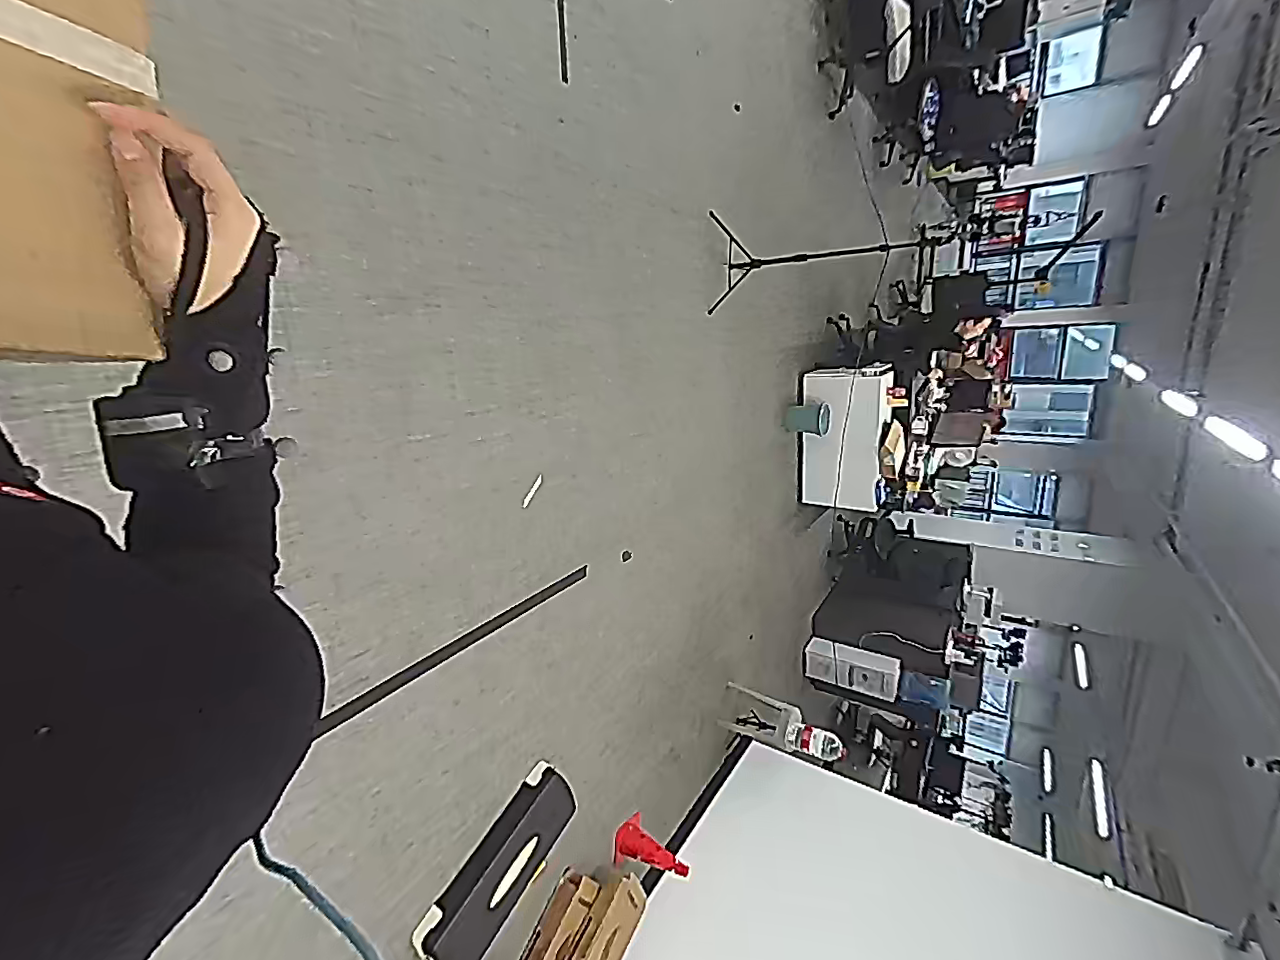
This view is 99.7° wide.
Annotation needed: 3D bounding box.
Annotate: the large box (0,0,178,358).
[{"bbox_3d":[-0.521,-0.230,0.243,0.408,0.320,0.320,-8,104,-55],"label":"large box"}]
